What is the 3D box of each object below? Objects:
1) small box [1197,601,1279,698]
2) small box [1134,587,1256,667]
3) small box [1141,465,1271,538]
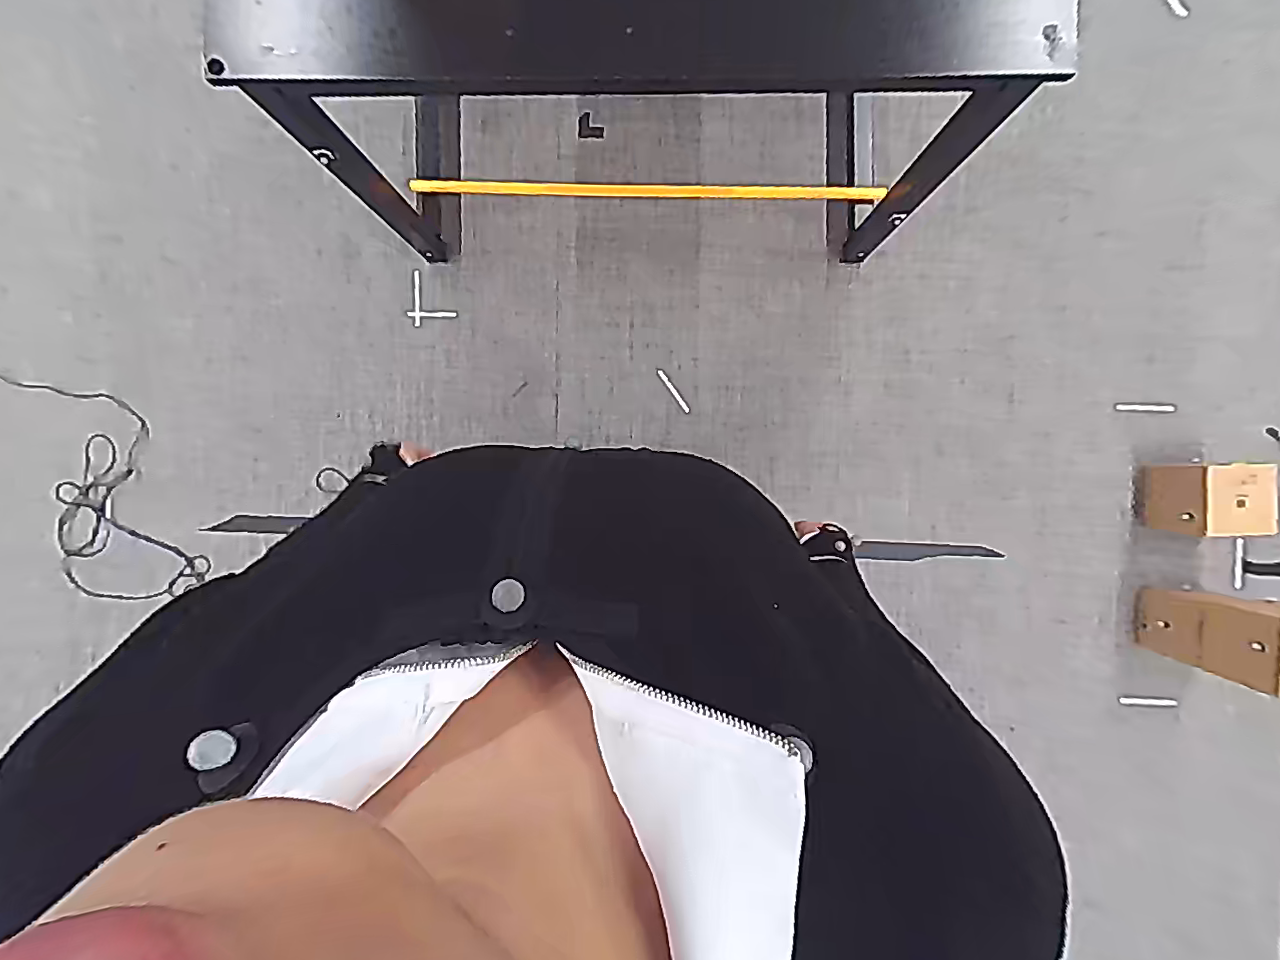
[{"bbox_3d":[1.433,0.379,1.230,0.168,0.176,0.179,1,93,1],"label":"small box"},{"bbox_3d":[1.436,0.379,1.396,0.179,0.176,0.168,3,92,2],"label":"small box"},{"bbox_3d":[1.436,0.050,1.383,0.168,0.176,0.179,-2,91,1],"label":"small box"}]
